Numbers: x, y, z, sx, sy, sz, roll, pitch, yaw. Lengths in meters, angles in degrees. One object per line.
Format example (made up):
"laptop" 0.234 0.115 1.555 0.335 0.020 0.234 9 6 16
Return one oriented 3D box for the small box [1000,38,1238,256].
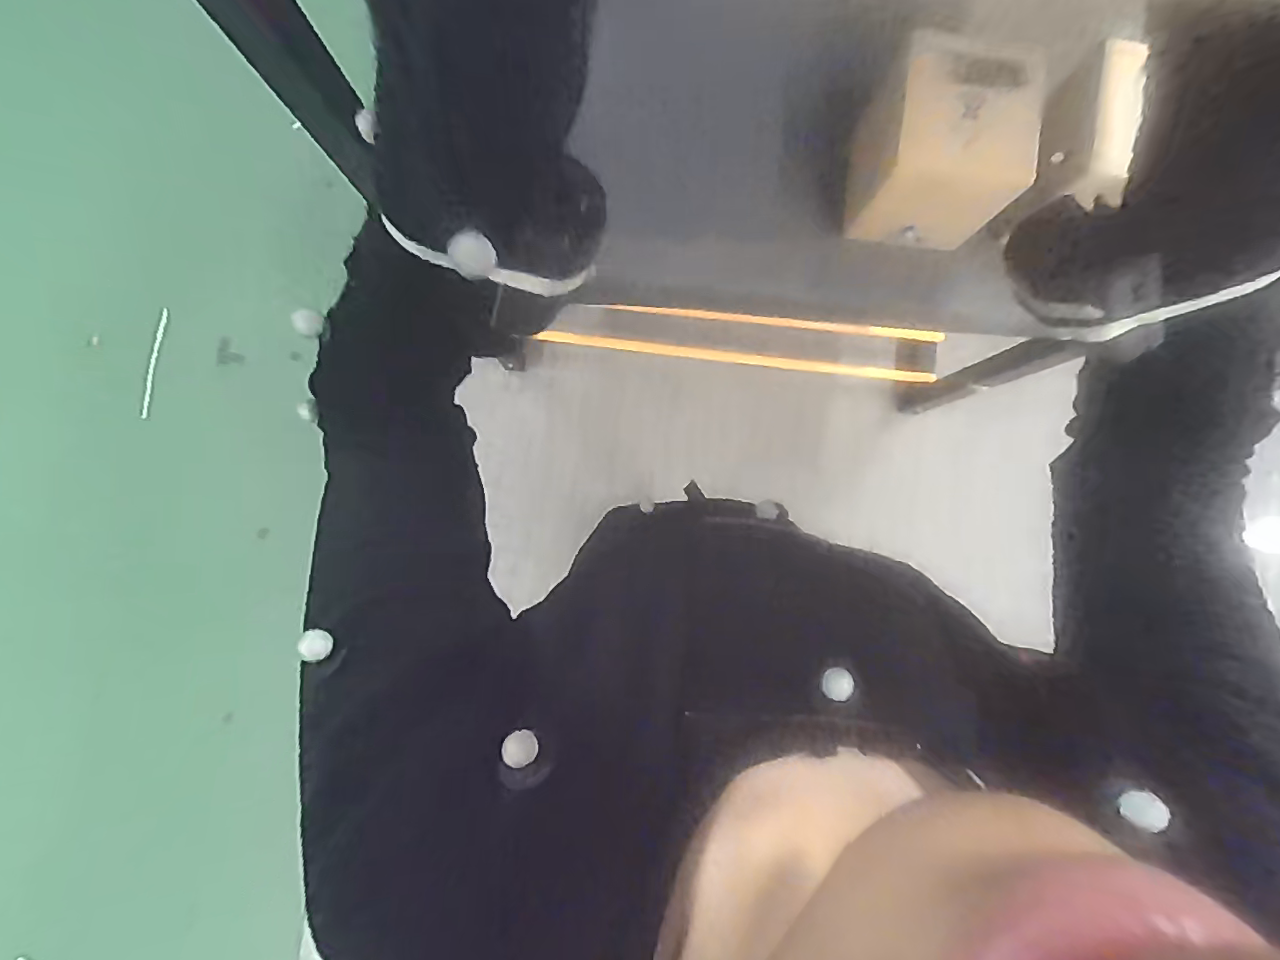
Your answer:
"small box" 0.620 -0.427 0.722 0.168 0.176 0.179 10 85 0
